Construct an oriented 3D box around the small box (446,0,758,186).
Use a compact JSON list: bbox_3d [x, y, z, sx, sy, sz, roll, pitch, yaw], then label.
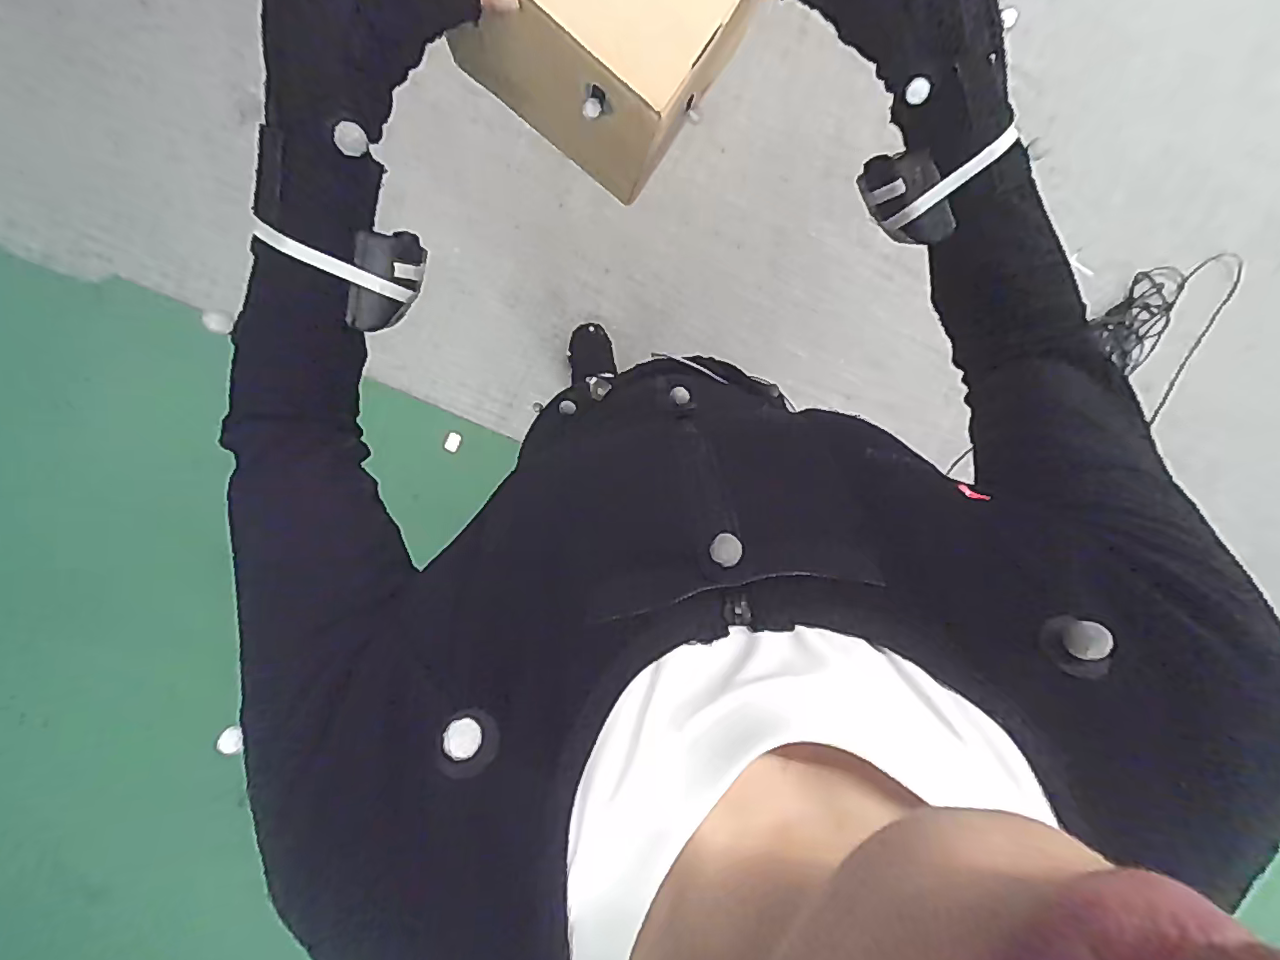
[{"bbox_3d":[-0.023,-0.342,0.368,0.179,0.176,0.168,35,94,-14],"label":"small box"}]
